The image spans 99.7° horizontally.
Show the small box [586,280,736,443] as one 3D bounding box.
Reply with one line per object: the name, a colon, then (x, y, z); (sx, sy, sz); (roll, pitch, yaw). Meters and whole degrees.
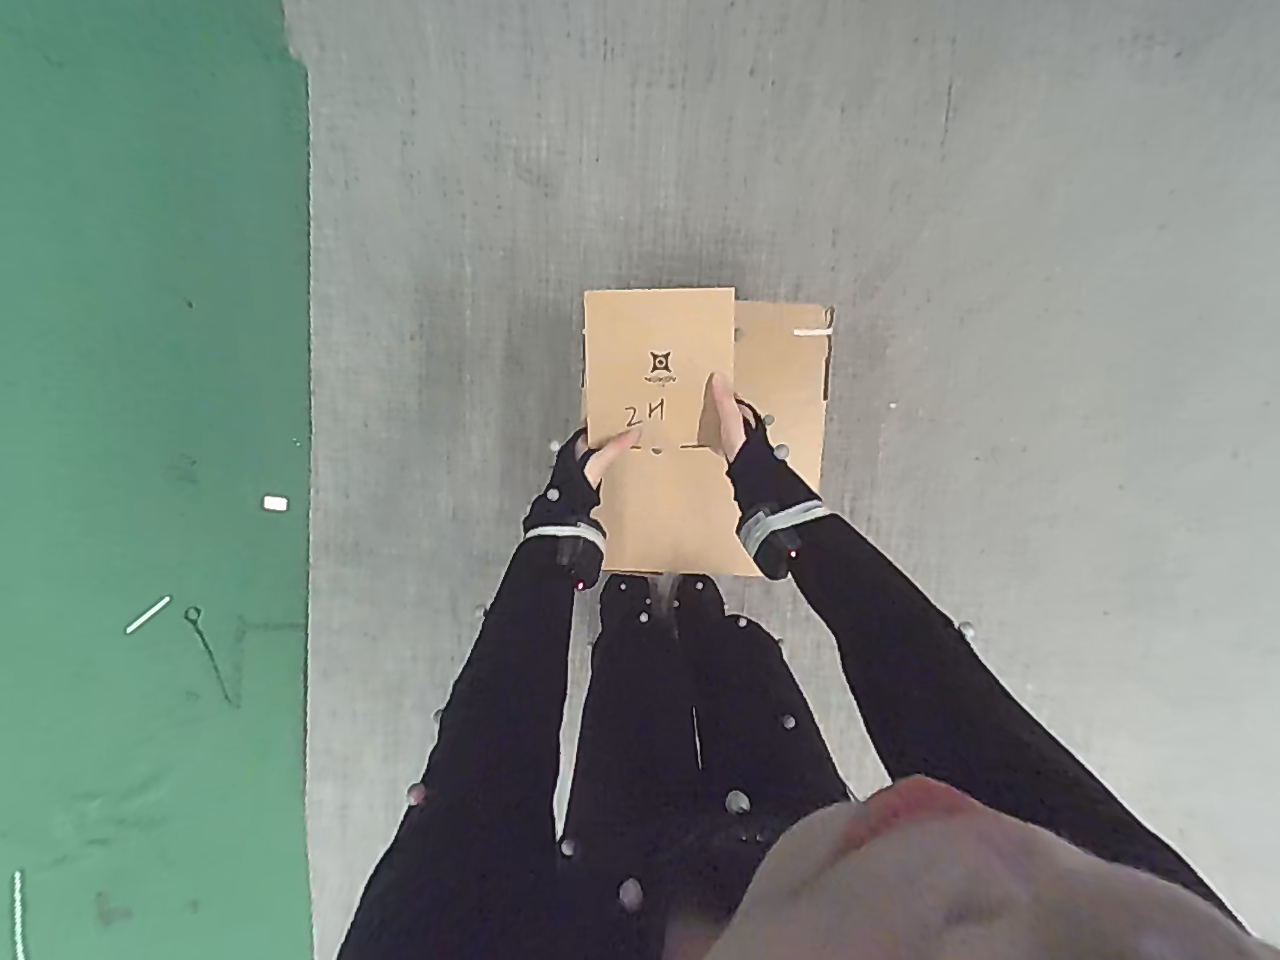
small box: (0.025, -0.139, 0.672); (0.168, 0.176, 0.179); (-1, 99, 3)
